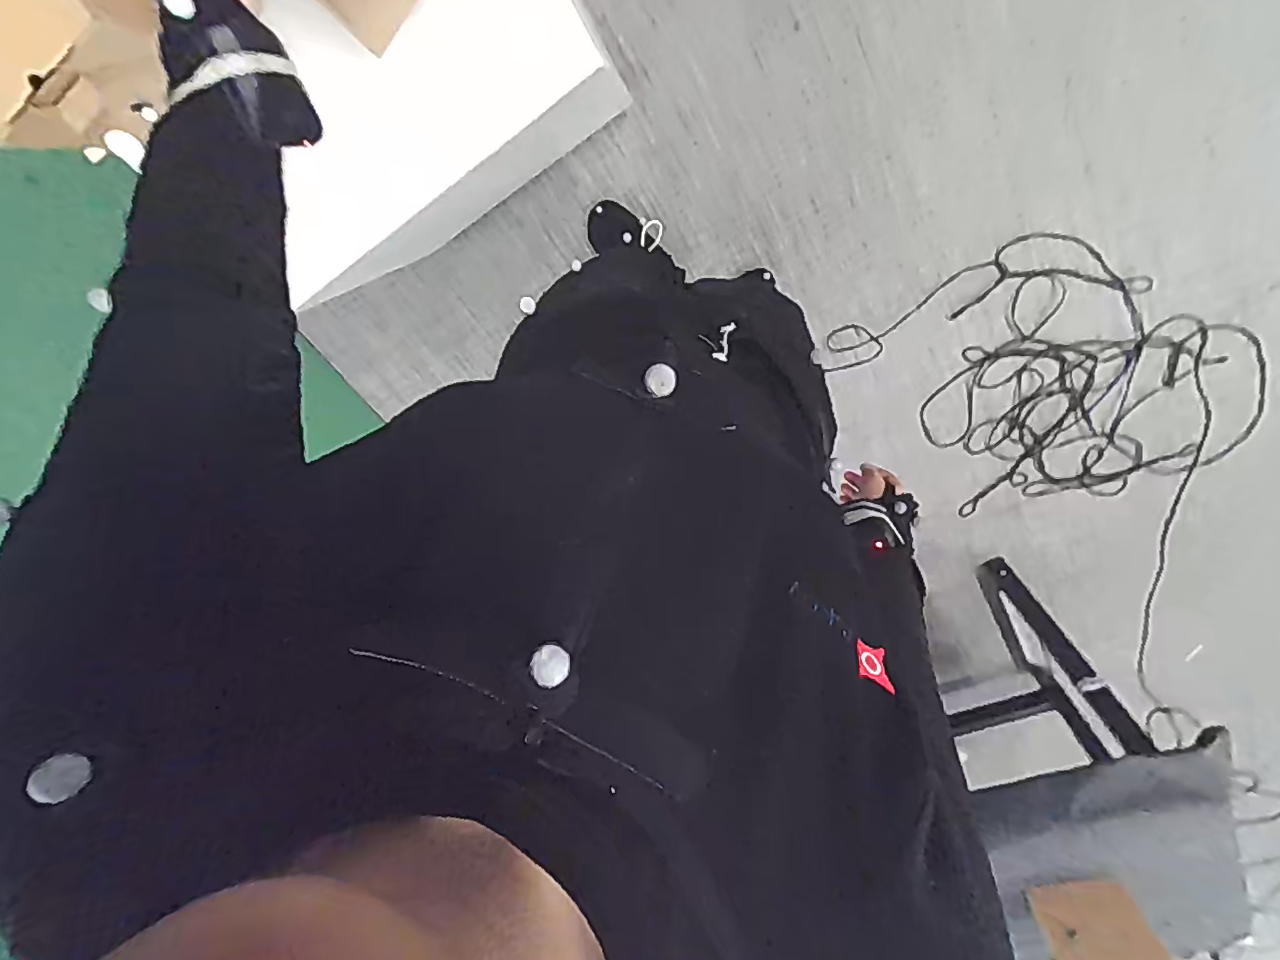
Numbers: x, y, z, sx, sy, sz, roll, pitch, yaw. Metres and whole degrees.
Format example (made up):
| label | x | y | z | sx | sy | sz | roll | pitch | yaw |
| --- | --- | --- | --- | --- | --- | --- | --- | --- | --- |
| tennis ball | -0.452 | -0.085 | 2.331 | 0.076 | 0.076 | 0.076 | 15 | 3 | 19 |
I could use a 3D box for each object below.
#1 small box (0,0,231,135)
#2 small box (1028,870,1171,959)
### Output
| label | x | y | z | sx | sy | sz | roll | pitch | yaw |
| --- | --- | --- | --- | --- | --- | --- | --- | --- | --- |
| small box | -0.519 | -0.424 | 0.460 | 0.168 | 0.176 | 0.179 | -26 | 118 | 16 |
| small box | 0.900 | 0.907 | 1.064 | 0.179 | 0.176 | 0.168 | -23 | 119 | 15 |
